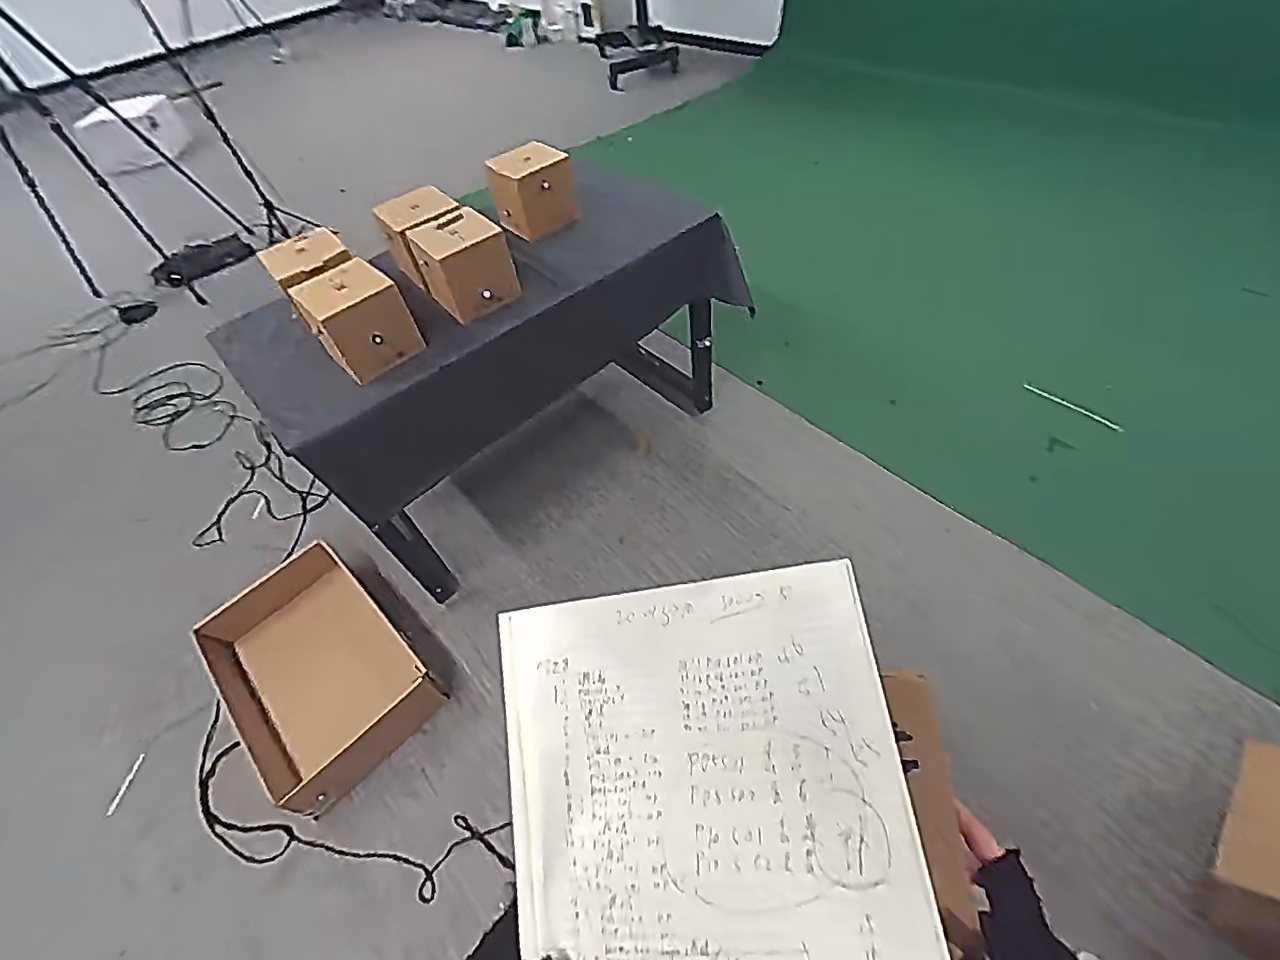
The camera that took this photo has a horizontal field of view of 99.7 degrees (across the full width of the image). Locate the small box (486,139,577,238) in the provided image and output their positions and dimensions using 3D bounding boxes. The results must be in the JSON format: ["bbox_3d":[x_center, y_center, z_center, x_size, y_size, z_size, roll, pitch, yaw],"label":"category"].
[{"bbox_3d":[-0.289,-0.800,1.487,0.179,0.176,0.168,-37,57,-19],"label":"small box"}]
